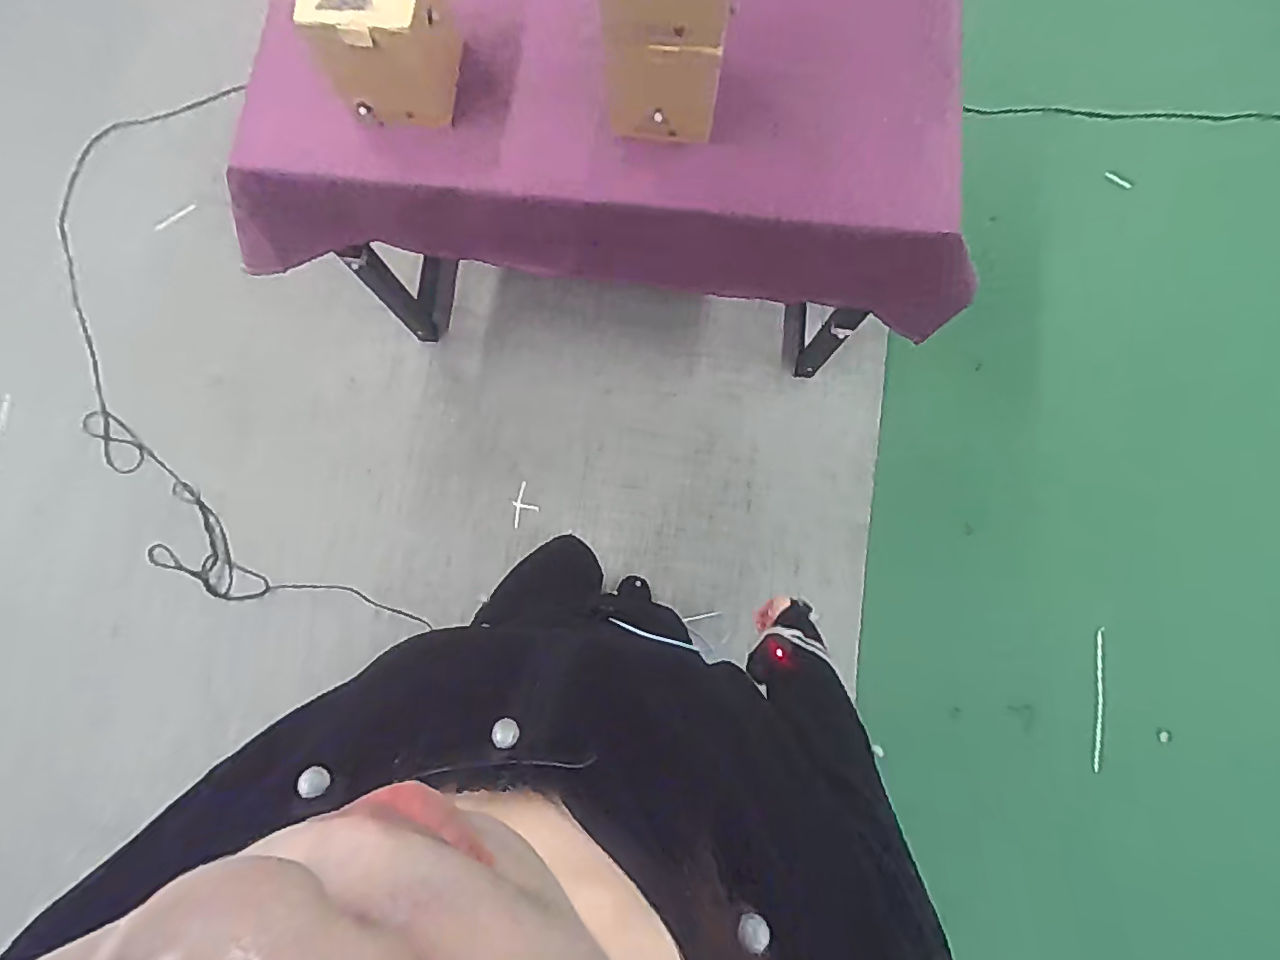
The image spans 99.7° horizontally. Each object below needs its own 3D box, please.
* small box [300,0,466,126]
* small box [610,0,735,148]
[{"bbox_3d":[-0.383,-0.691,0.838,0.168,0.176,0.179,5,80,0],"label":"small box"},{"bbox_3d":[0.050,-0.660,0.835,0.168,0.176,0.179,8,81,2],"label":"small box"}]
